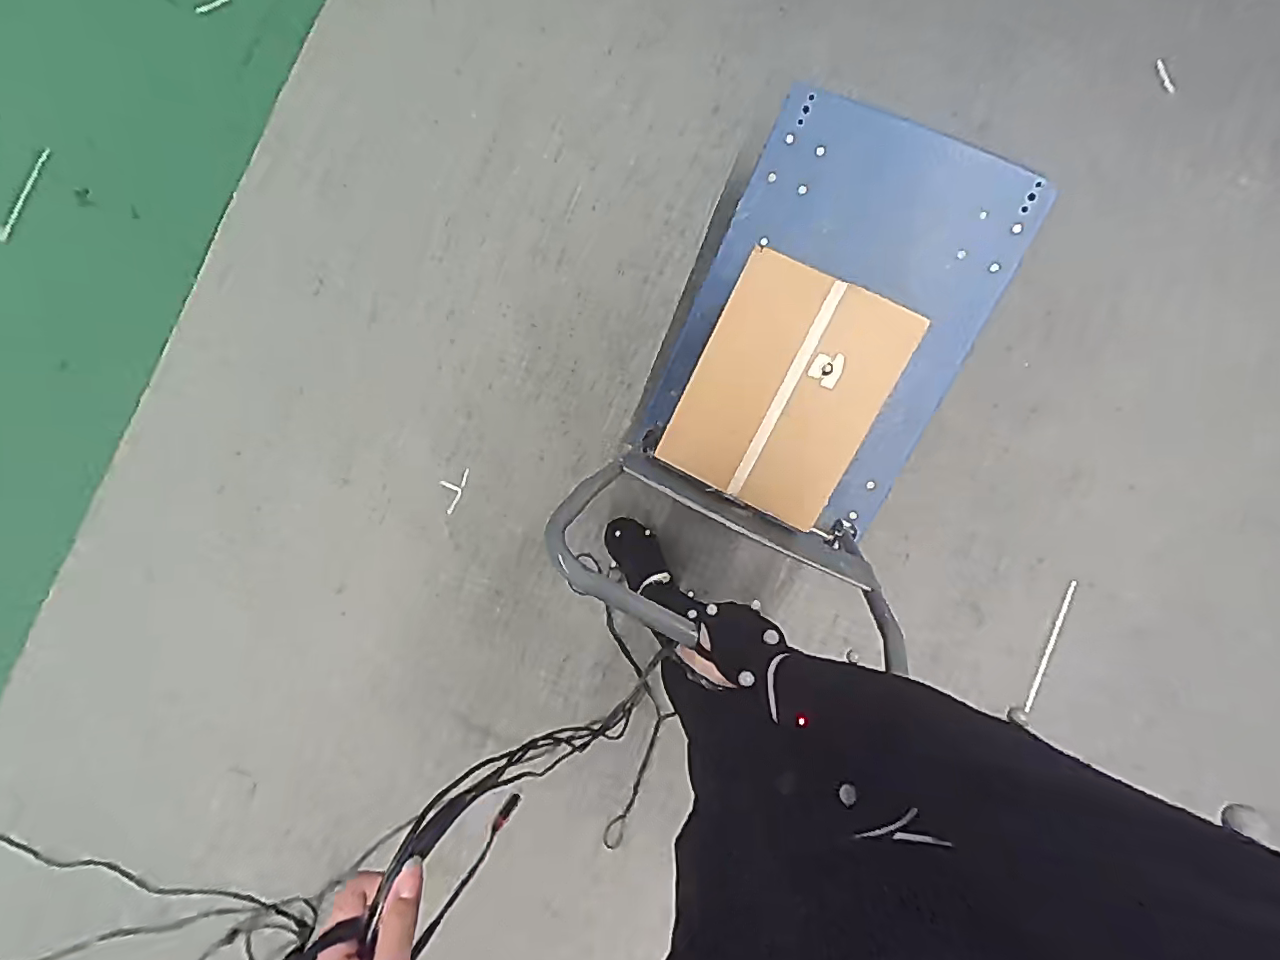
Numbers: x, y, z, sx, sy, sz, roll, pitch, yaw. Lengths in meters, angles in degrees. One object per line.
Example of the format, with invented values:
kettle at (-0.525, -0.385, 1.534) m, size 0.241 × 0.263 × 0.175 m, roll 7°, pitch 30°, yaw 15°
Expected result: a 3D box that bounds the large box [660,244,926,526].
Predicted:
large box at (0.282, -0.177, 1.080) m, size 0.320 × 0.320 × 0.408 m, roll 28°, pitch 103°, yaw 6°
